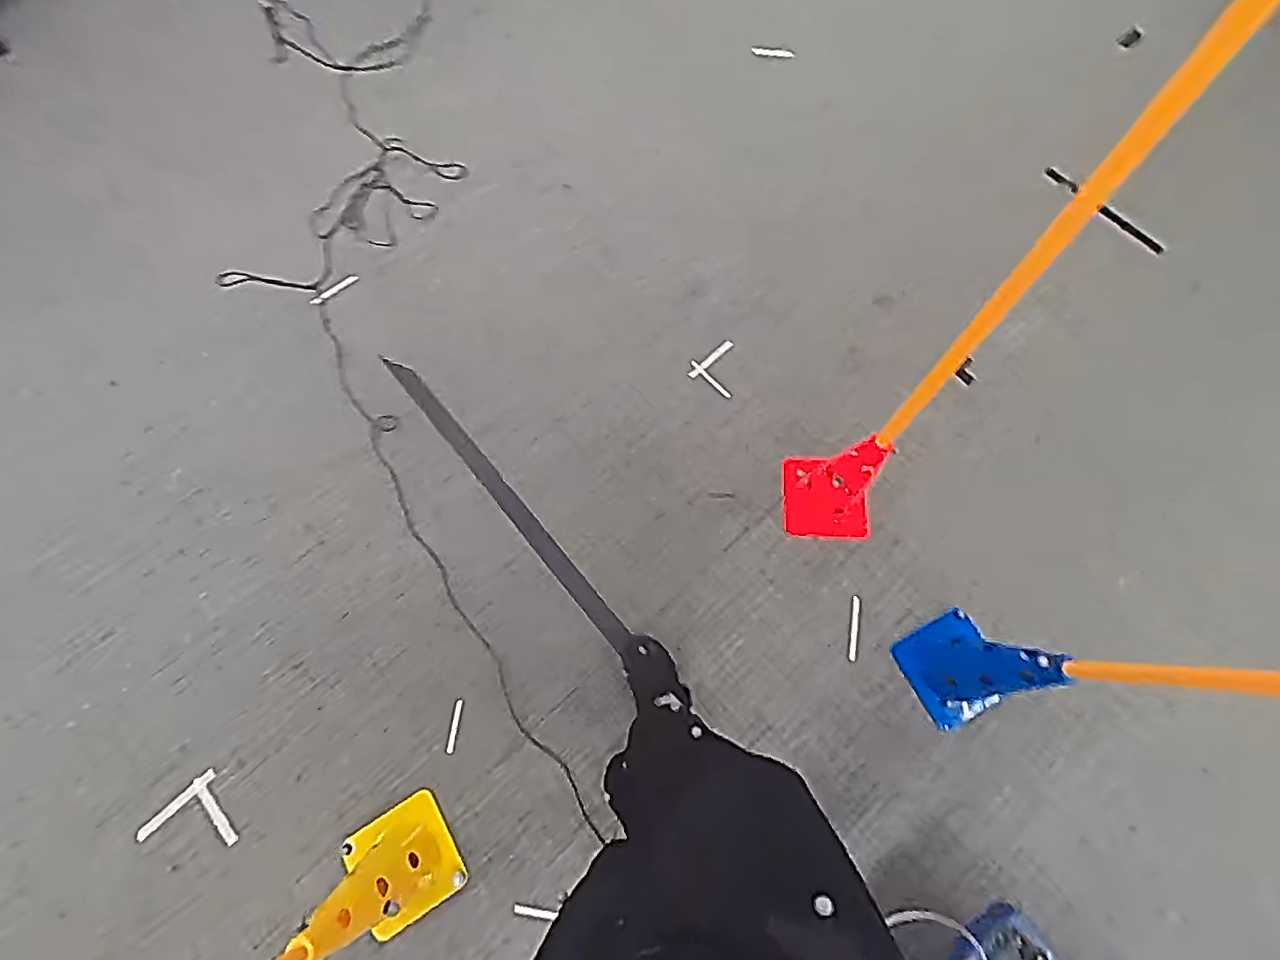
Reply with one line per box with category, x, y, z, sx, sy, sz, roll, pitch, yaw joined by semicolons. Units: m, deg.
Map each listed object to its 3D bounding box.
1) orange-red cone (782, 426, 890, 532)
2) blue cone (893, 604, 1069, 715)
orange-red cone;0.436;-0.025;1.134;0.198;0.360;0.199;3;73;3
blue cone;0.668;0.336;1.022;0.193;0.380;0.192;-26;72;-7
